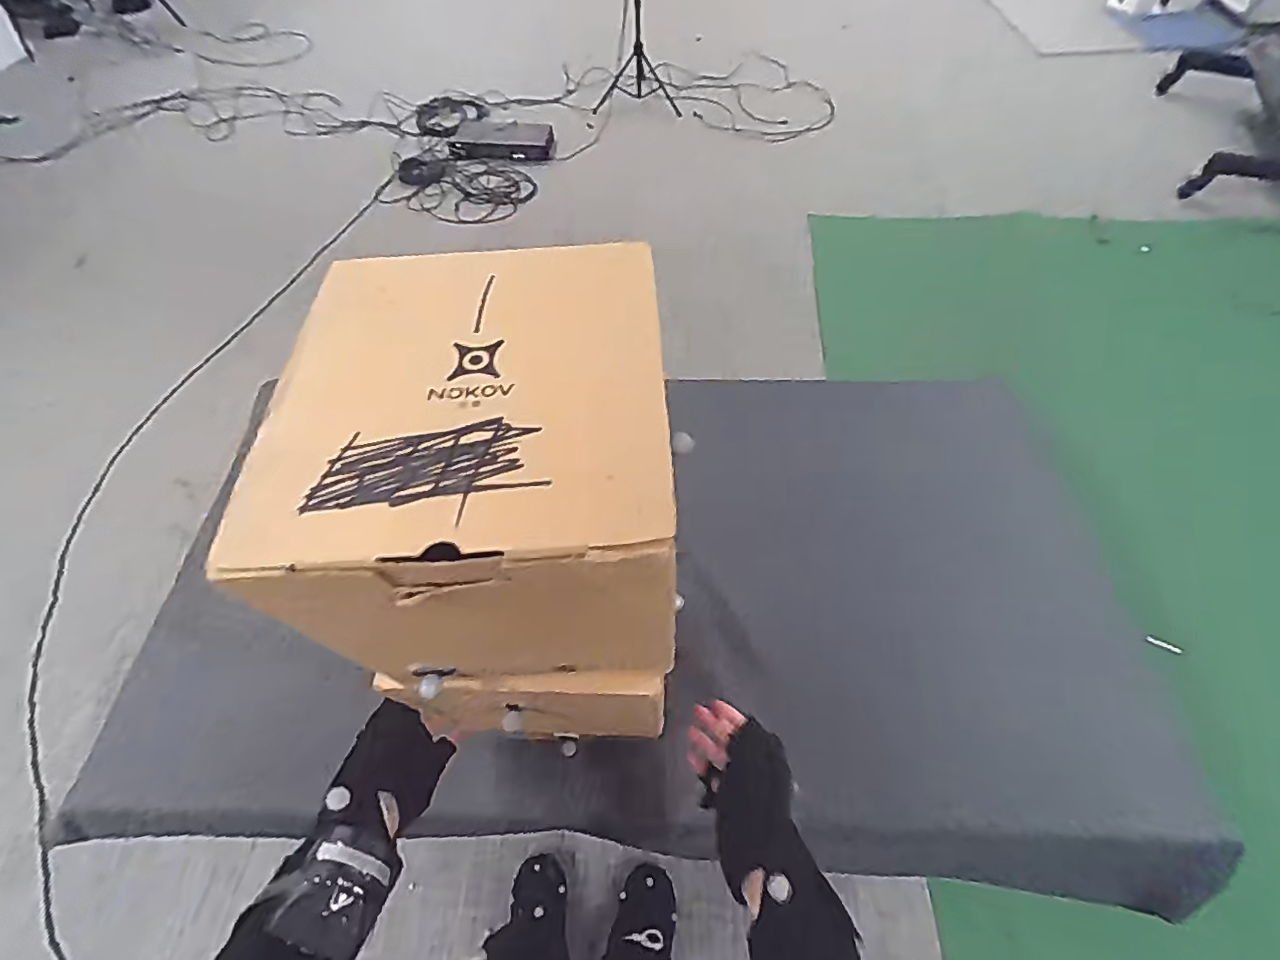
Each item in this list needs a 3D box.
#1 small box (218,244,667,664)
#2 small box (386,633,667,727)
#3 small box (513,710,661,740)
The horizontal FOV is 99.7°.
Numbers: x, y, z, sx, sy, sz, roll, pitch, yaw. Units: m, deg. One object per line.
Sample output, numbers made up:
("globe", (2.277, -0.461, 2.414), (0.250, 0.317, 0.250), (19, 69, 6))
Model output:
("small box", (-0.072, -0.002, 0.306), (0.168, 0.176, 0.179), (-3, 56, 1))
("small box", (-0.068, 0.098, 0.441), (0.179, 0.176, 0.168), (-2, 55, 1))
("small box", (-0.061, 0.173, 0.583), (0.168, 0.176, 0.179), (-2, 58, 3))
